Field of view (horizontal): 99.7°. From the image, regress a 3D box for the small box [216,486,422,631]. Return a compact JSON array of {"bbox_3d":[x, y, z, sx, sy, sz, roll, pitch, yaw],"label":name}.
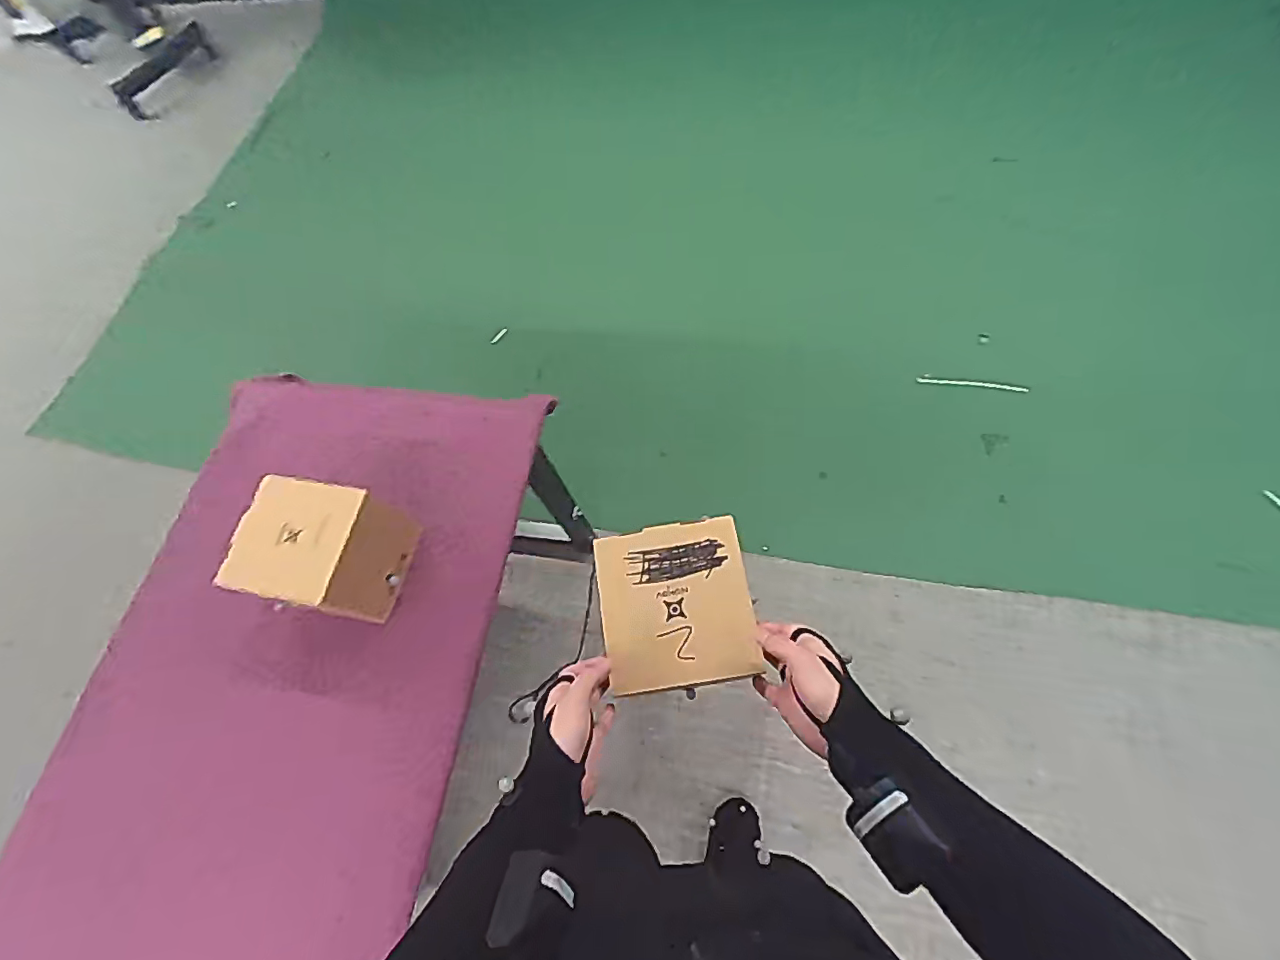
[{"bbox_3d":[-0.474,0.125,0.827,0.179,0.176,0.168,8,68,12],"label":"small box"}]
